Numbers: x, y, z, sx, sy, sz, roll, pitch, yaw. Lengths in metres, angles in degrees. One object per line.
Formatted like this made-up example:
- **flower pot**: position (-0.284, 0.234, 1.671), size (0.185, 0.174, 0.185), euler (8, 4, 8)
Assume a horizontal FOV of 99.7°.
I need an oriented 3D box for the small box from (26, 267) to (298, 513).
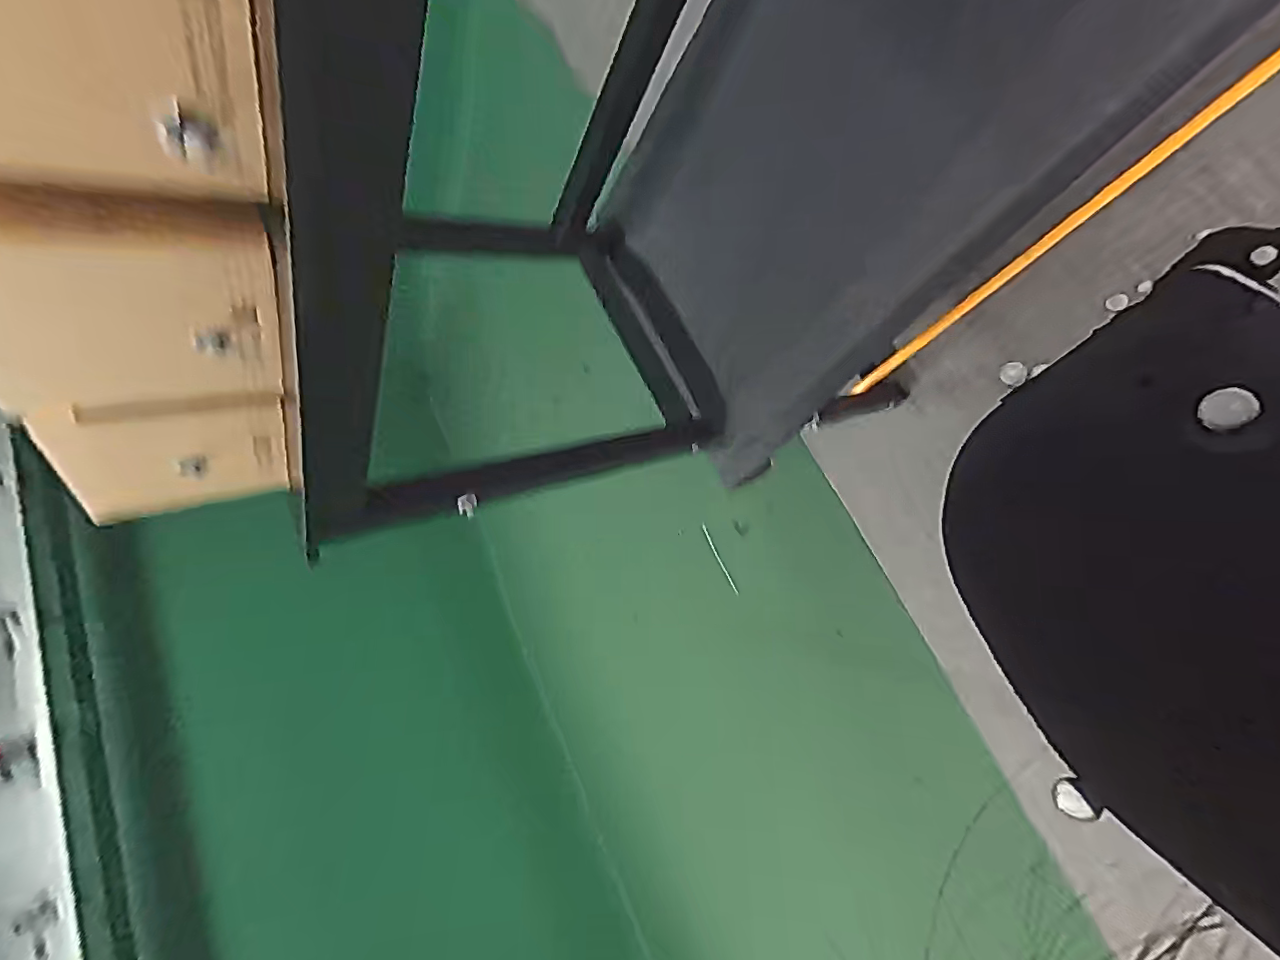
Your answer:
- **small box**: position (-0.462, -0.093, 0.550), size (0.168, 0.176, 0.179), euler (-47, 64, 48)
